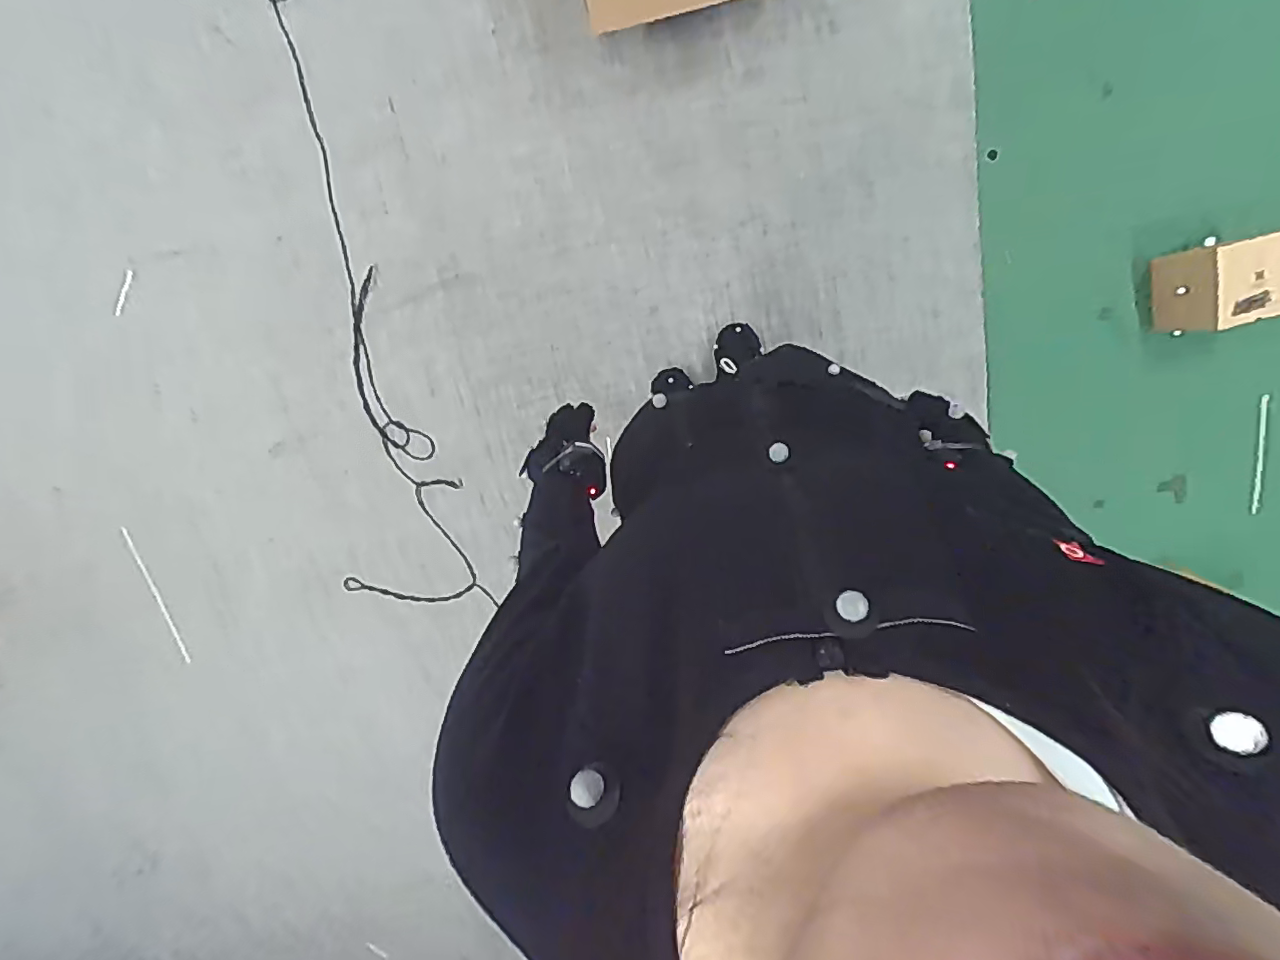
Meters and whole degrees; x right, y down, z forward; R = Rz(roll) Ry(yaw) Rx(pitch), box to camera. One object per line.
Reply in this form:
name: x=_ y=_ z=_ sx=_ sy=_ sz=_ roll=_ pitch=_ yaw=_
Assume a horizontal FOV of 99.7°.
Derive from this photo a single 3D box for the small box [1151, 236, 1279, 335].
small box: x=1.308 y=-0.432 z=1.217 sx=0.168 sy=0.176 sz=0.179 roll=-13 pitch=102 yaw=7
